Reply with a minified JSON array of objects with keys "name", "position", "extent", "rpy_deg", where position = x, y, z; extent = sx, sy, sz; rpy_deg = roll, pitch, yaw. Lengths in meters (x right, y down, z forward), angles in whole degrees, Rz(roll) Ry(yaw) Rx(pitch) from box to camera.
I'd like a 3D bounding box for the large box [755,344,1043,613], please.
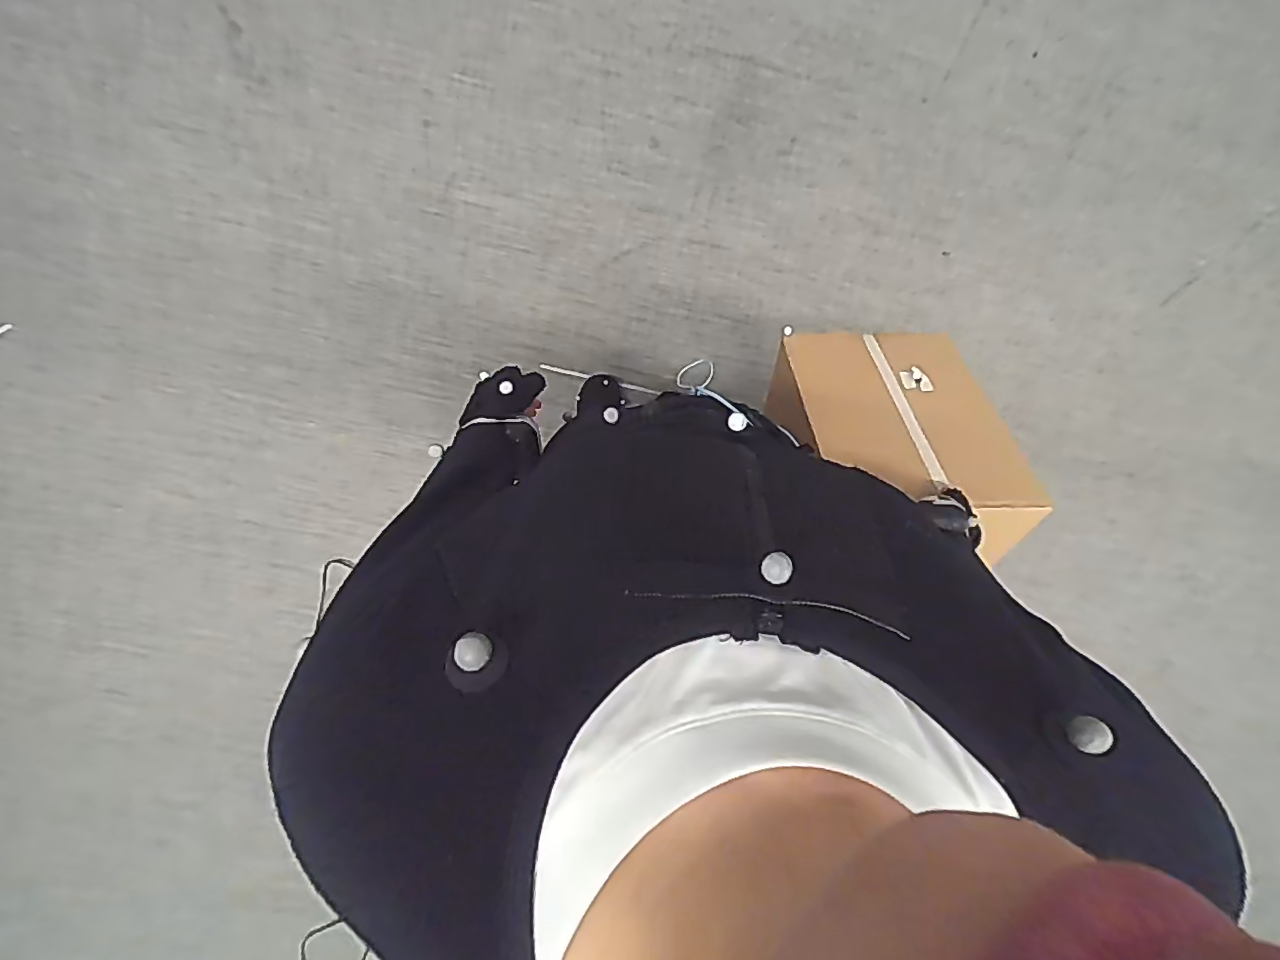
[{"name":"large box","position":[0.421,-0.005,1.011],"extent":[0.320,0.408,0.320],"rpy_deg":[0,139,-2]}]
